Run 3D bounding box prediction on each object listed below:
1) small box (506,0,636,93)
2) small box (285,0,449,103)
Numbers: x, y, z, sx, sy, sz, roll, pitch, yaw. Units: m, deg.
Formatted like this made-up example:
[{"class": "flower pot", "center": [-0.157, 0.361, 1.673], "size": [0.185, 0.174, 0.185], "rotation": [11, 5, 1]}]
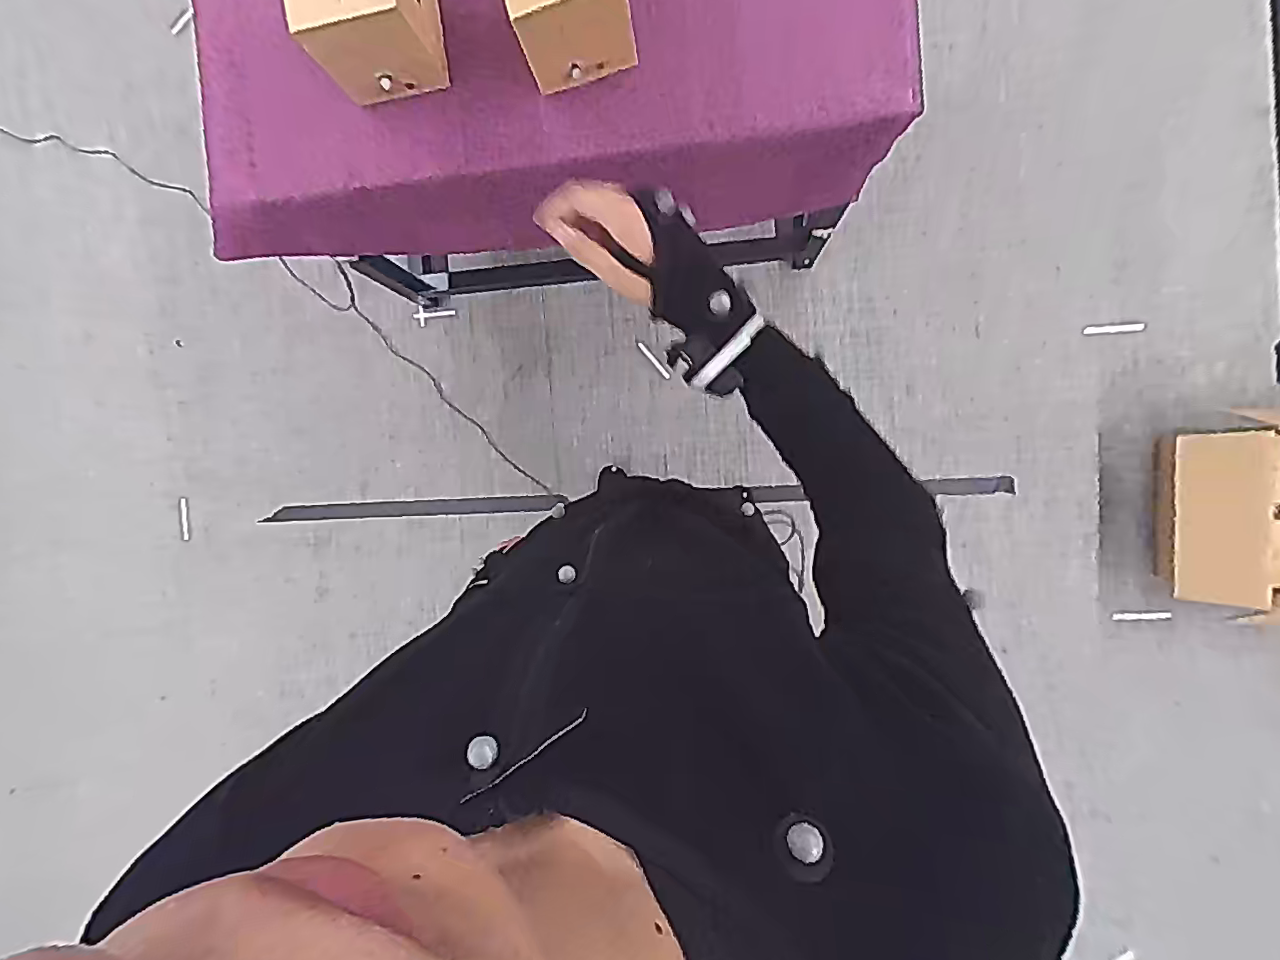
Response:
[{"class": "small box", "center": [-0.111, -0.733, 0.802], "size": [0.168, 0.176, 0.179], "rotation": [-14, 91, 7]}, {"class": "small box", "center": [-0.416, -0.732, 0.831], "size": [0.168, 0.176, 0.179], "rotation": [-8, 92, 6]}]
